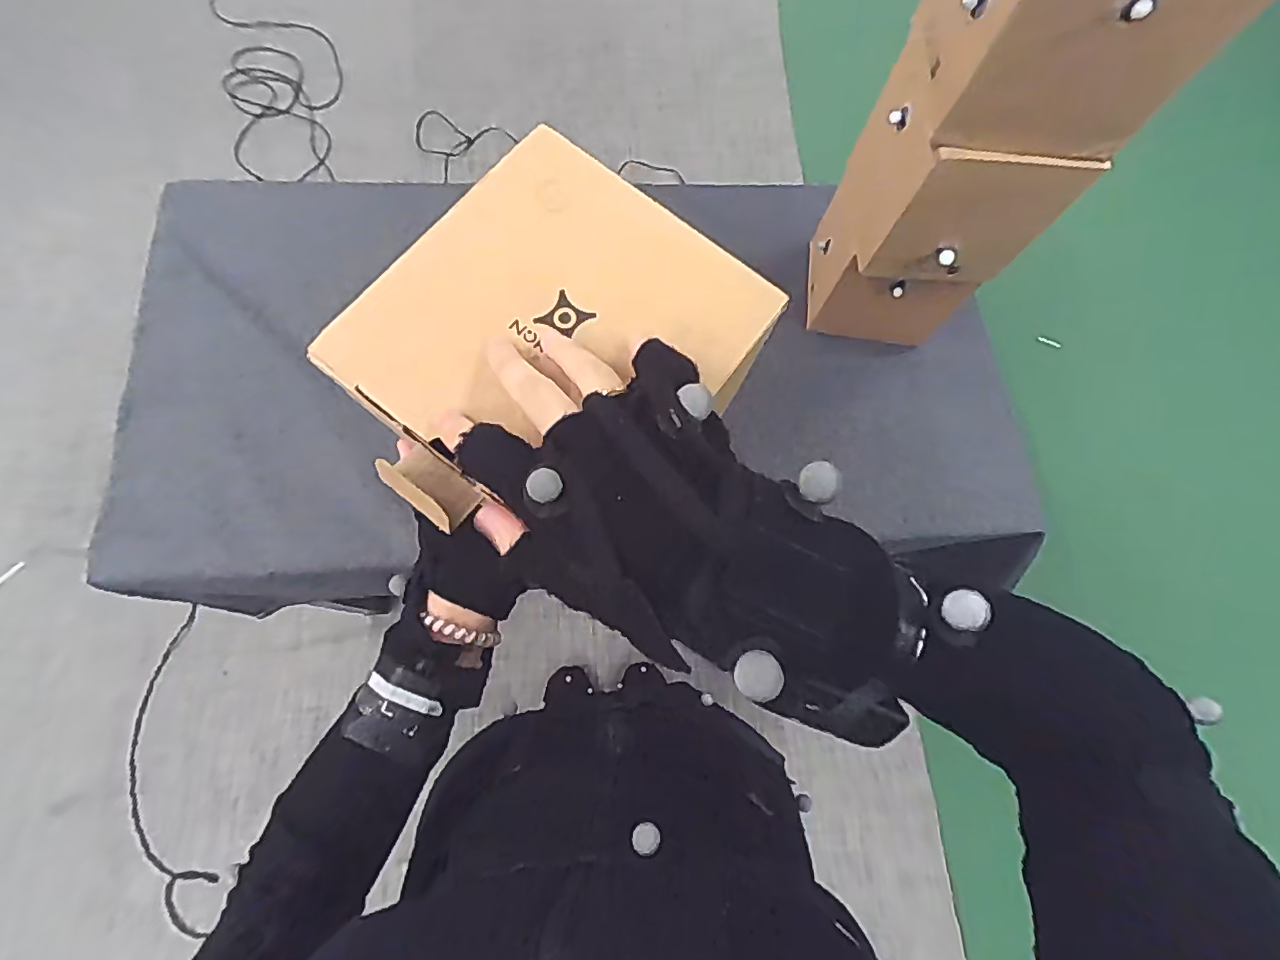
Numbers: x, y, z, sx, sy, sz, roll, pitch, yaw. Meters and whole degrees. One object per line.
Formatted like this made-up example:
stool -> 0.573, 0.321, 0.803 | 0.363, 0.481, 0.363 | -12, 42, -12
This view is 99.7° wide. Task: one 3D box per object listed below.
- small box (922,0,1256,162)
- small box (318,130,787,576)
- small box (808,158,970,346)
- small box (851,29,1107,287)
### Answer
small box -> 0.356, -0.397, 0.445 | 0.179, 0.176, 0.168 | 5, 72, -2
small box -> -0.044, -0.058, 0.343 | 0.168, 0.176, 0.179 | 37, 77, 5
small box -> 0.348, -0.309, 0.760 | 0.179, 0.176, 0.168 | 9, 72, -1
small box -> 0.350, -0.344, 0.599 | 0.168, 0.176, 0.179 | 3, 72, -2
